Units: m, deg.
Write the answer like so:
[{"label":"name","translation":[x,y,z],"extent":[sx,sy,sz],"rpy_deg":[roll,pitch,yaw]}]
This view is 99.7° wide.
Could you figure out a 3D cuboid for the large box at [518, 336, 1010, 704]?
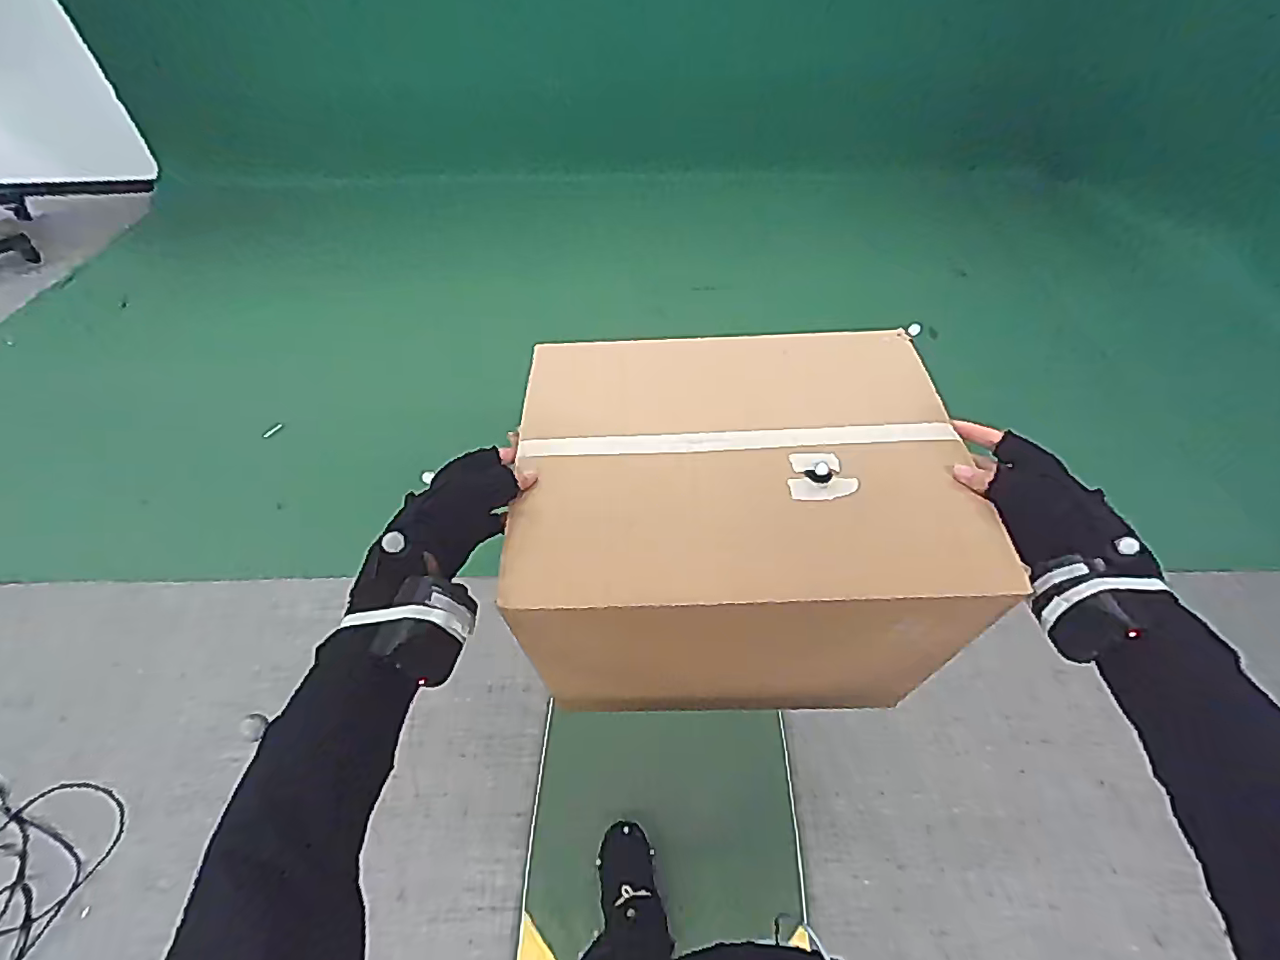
[{"label":"large box","translation":[0.097,0.057,0.636],"extent":[0.408,0.320,0.320],"rpy_deg":[-2,54,1]}]
